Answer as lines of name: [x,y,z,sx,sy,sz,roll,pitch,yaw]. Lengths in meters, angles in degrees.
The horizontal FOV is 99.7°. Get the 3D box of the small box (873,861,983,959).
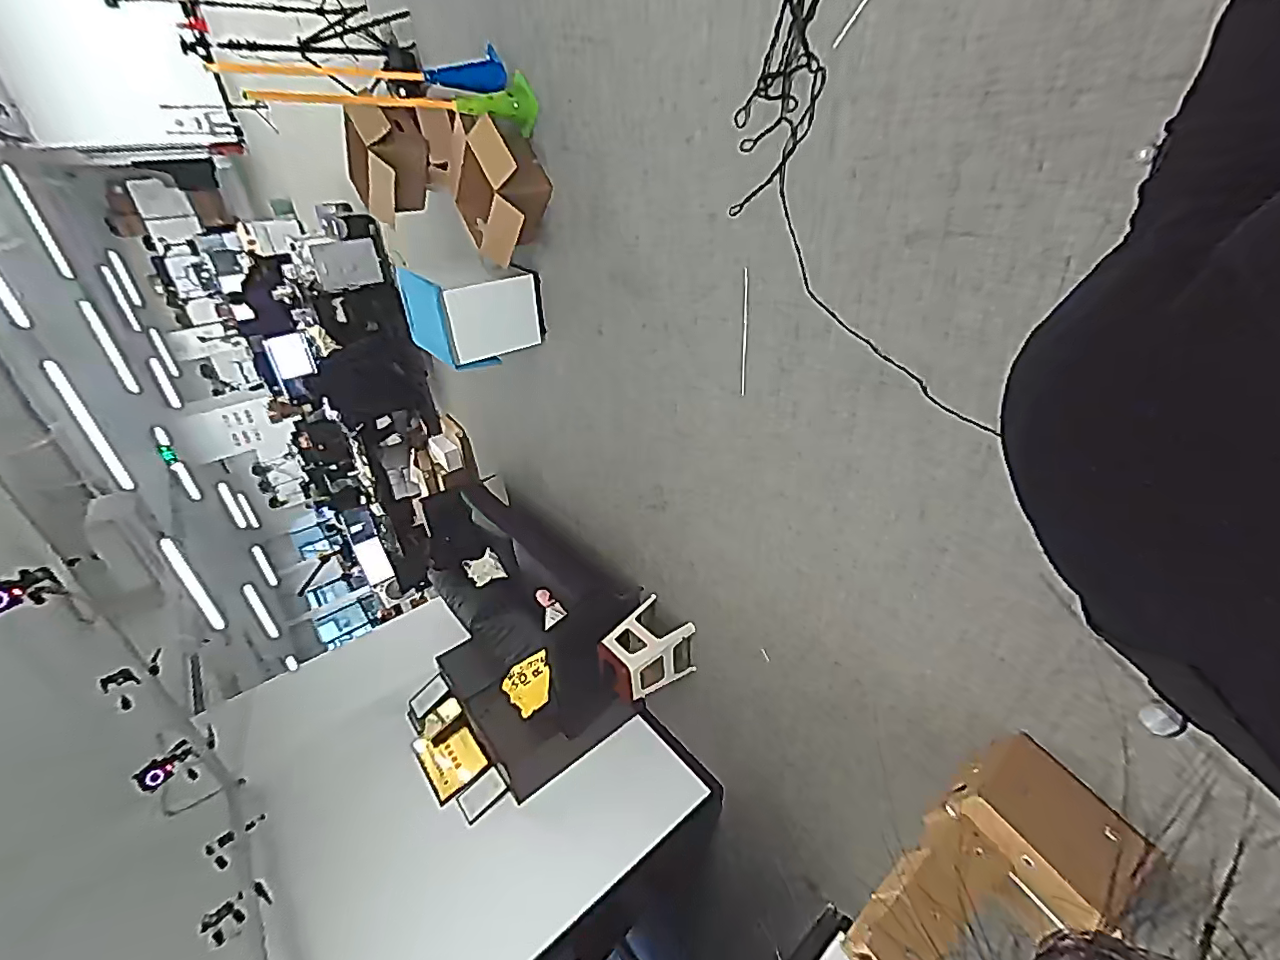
small box: [0.799,1.202,1.506,0.179,0.176,0.168,47,146,28]

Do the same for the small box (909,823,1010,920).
small box: [0.932,1.148,1.582,0.168,0.176,0.179,46,145,29]
